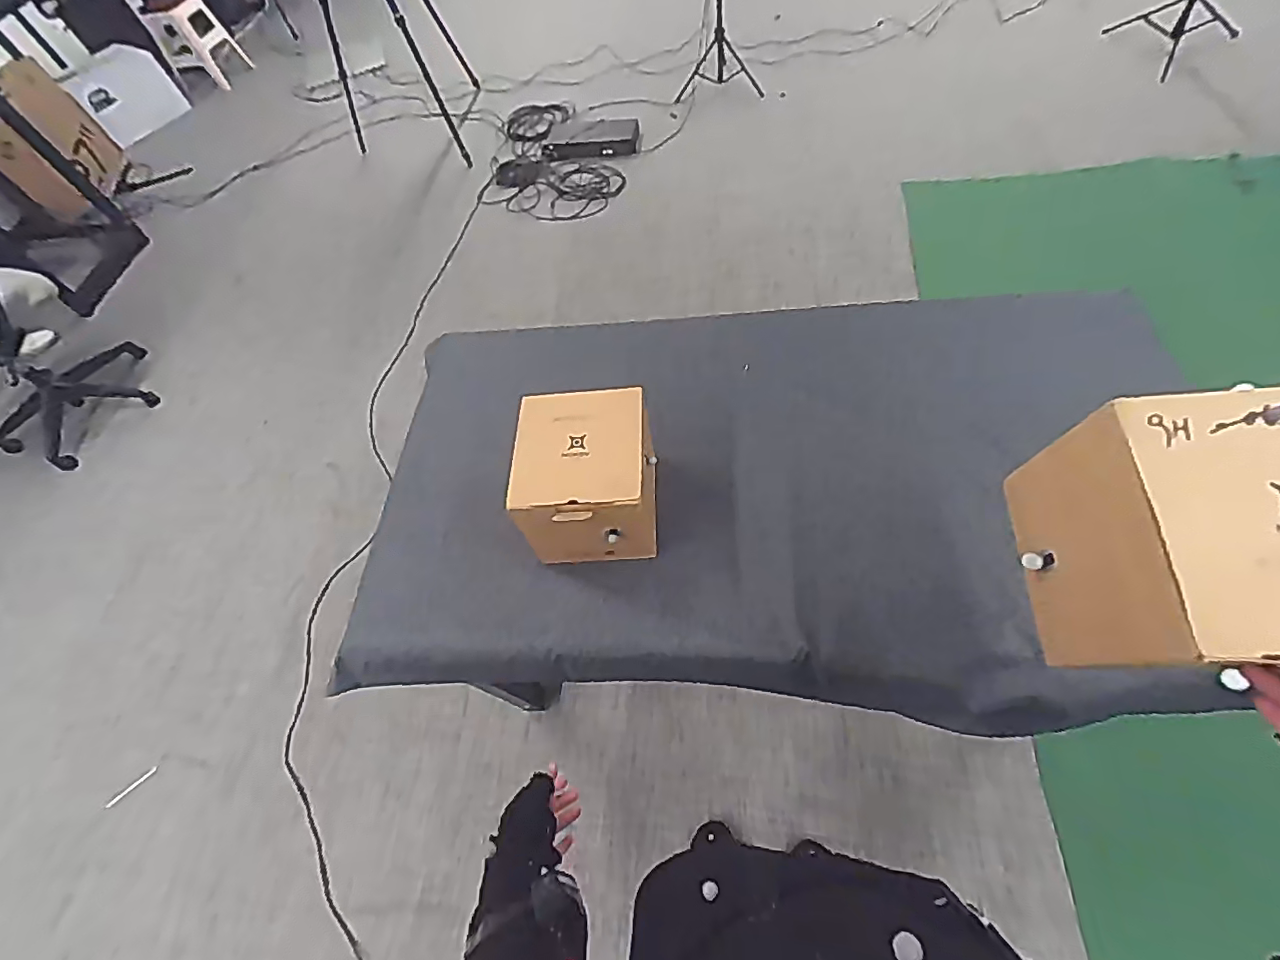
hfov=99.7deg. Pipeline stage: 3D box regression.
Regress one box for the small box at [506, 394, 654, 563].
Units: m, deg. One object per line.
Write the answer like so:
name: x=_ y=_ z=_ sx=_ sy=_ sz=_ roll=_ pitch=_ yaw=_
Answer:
small box: x=-0.070 y=0.007 z=0.743 sx=0.168 sy=0.176 sz=0.179 roll=-4 pitch=56 yaw=5

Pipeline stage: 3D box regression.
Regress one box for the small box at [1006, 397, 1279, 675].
small box: x=0.417 y=0.054 z=0.409 sx=0.168 sy=0.176 sz=0.179 roll=-3 pitch=70 yaw=8
